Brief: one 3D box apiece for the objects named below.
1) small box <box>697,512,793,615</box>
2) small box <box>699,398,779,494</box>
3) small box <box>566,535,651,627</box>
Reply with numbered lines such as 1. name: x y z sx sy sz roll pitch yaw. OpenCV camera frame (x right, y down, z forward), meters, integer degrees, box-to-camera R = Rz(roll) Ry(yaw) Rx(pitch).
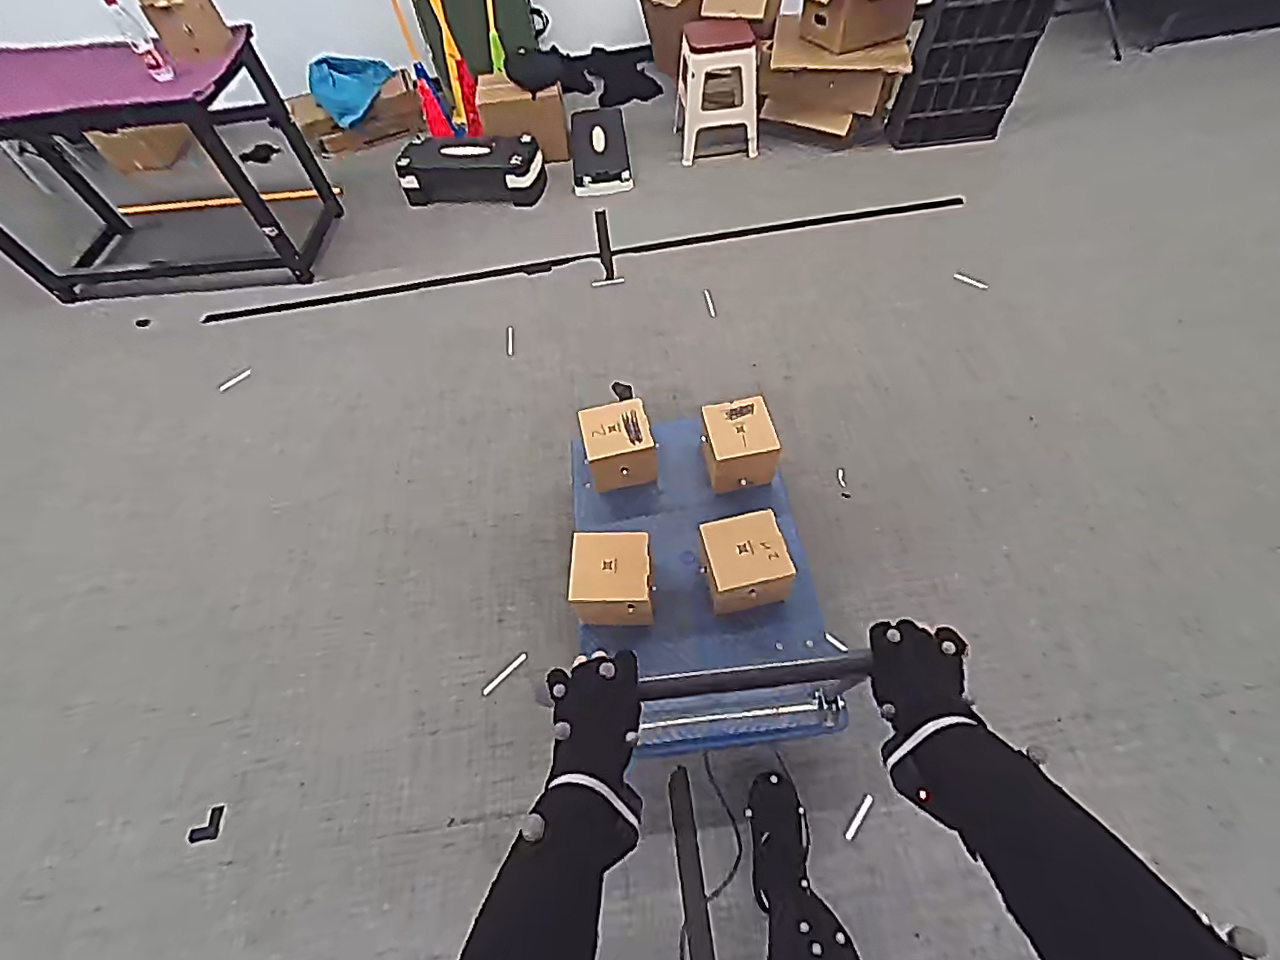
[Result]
1. small box: 0.236 0.199 1.256 0.179 0.176 0.168 -13 58 -2
2. small box: 0.252 -0.088 1.433 0.168 0.176 0.179 -11 59 -1
3. small box: -0.066 0.239 1.259 0.179 0.176 0.168 -1 57 2
